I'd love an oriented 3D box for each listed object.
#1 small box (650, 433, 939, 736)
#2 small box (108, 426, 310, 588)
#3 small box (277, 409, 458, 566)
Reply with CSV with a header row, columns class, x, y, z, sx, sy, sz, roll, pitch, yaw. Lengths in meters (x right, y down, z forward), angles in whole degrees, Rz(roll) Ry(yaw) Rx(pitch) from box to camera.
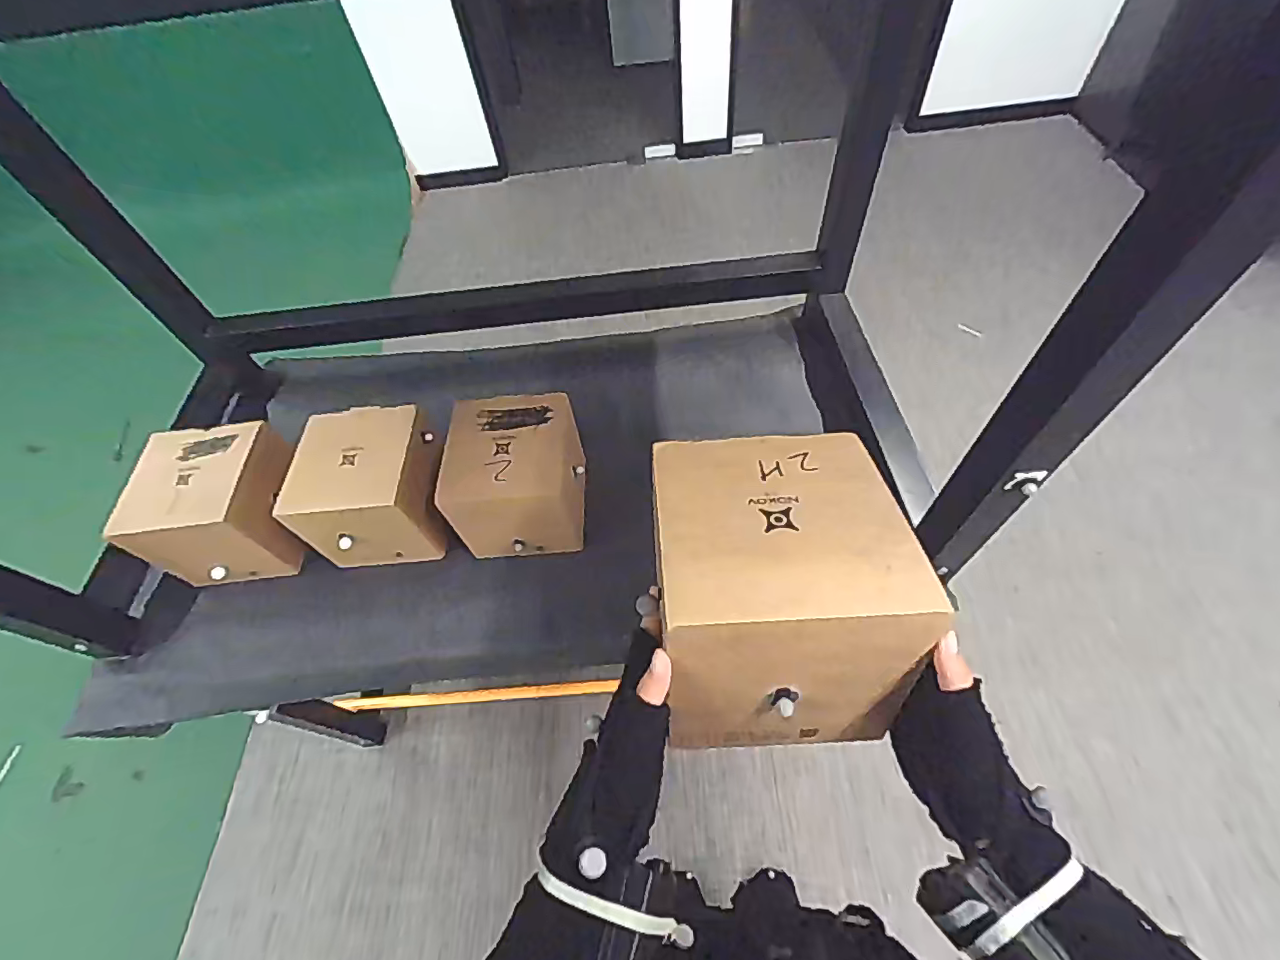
class,x,y,z,sx,sy,sz,roll,pitch,yaw
small box,0.094,0.083,0.423,0.168,0.176,0.179,-2,39,1
small box,-0.615,0.044,0.817,0.168,0.176,0.179,-7,55,1
small box,-0.390,0.019,0.812,0.168,0.176,0.179,-5,54,2
